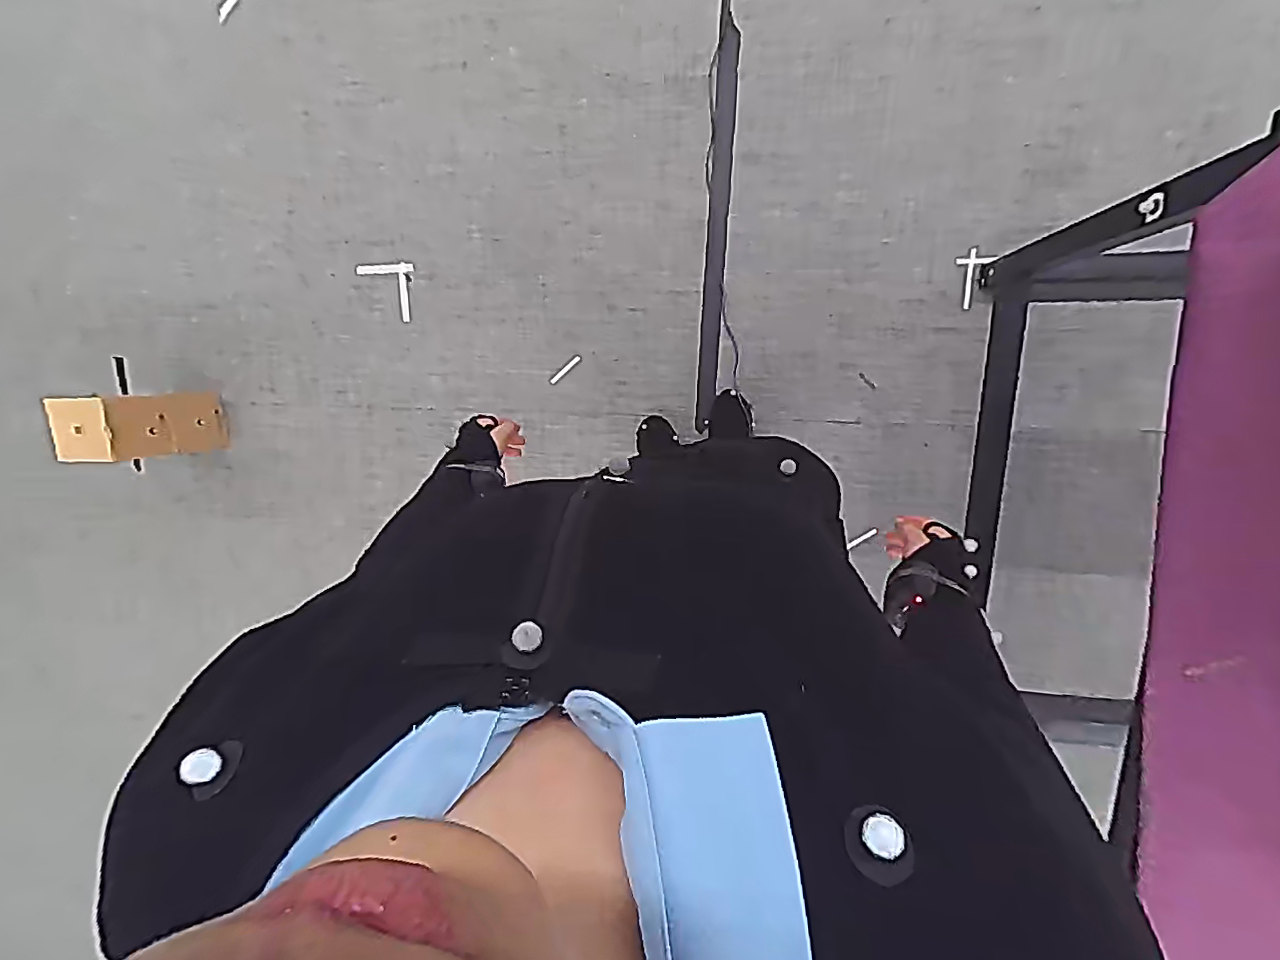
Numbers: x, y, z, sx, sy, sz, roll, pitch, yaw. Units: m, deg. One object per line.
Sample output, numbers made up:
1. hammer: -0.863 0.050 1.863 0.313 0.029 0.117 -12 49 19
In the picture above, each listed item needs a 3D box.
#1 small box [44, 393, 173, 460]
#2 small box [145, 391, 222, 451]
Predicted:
1. small box: -1.414 -0.147 1.448 0.179 0.176 0.168 1 101 8
2. small box: -1.388 -0.178 1.606 0.179 0.176 0.168 0 100 10
